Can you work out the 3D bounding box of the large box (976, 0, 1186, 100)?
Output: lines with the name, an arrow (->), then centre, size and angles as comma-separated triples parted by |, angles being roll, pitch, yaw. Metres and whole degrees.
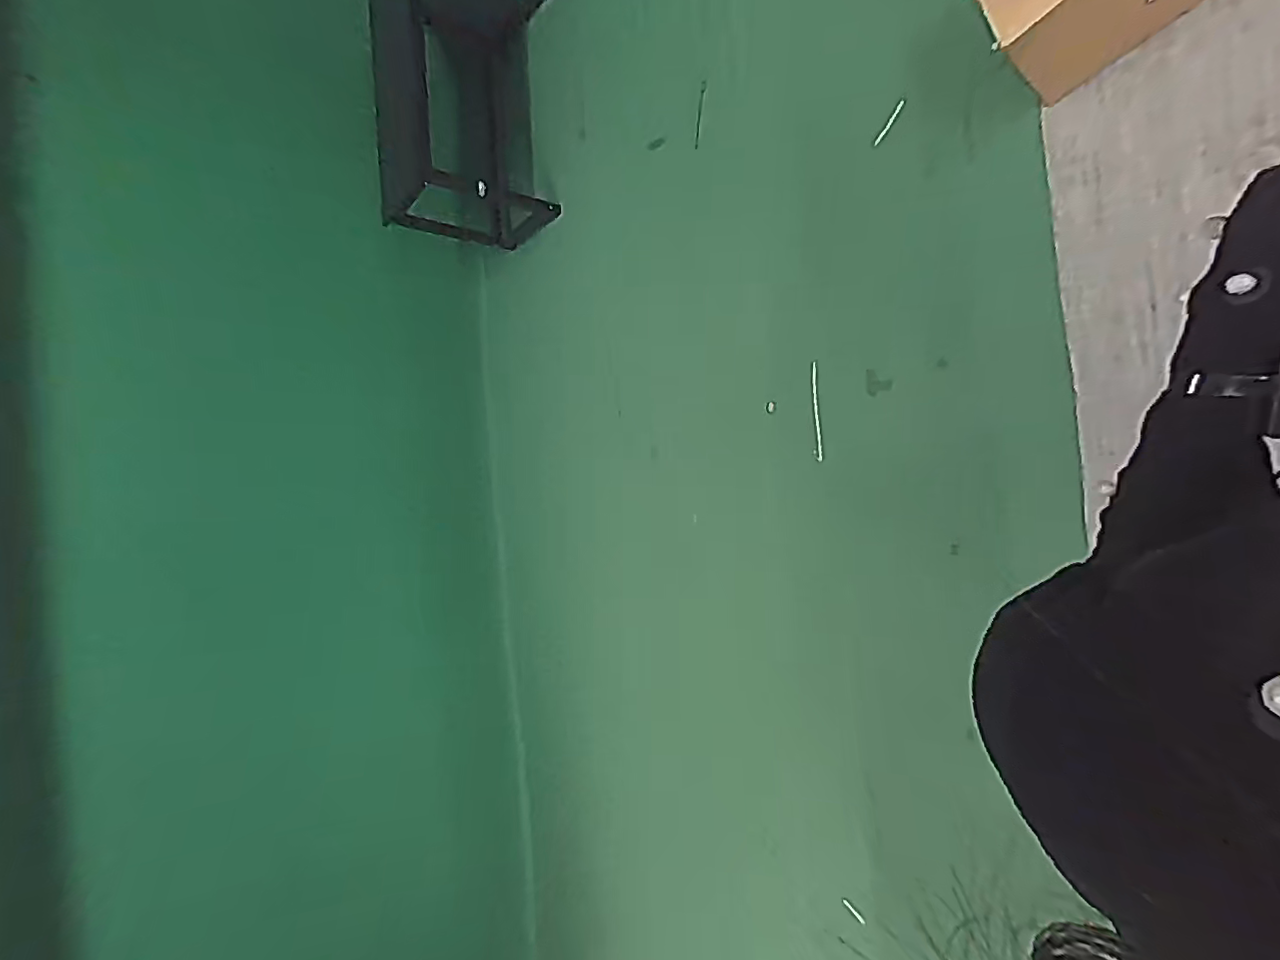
large box -> 0.891, -1.051, 1.019 | 0.408, 0.320, 0.320 | -29, 71, 50
